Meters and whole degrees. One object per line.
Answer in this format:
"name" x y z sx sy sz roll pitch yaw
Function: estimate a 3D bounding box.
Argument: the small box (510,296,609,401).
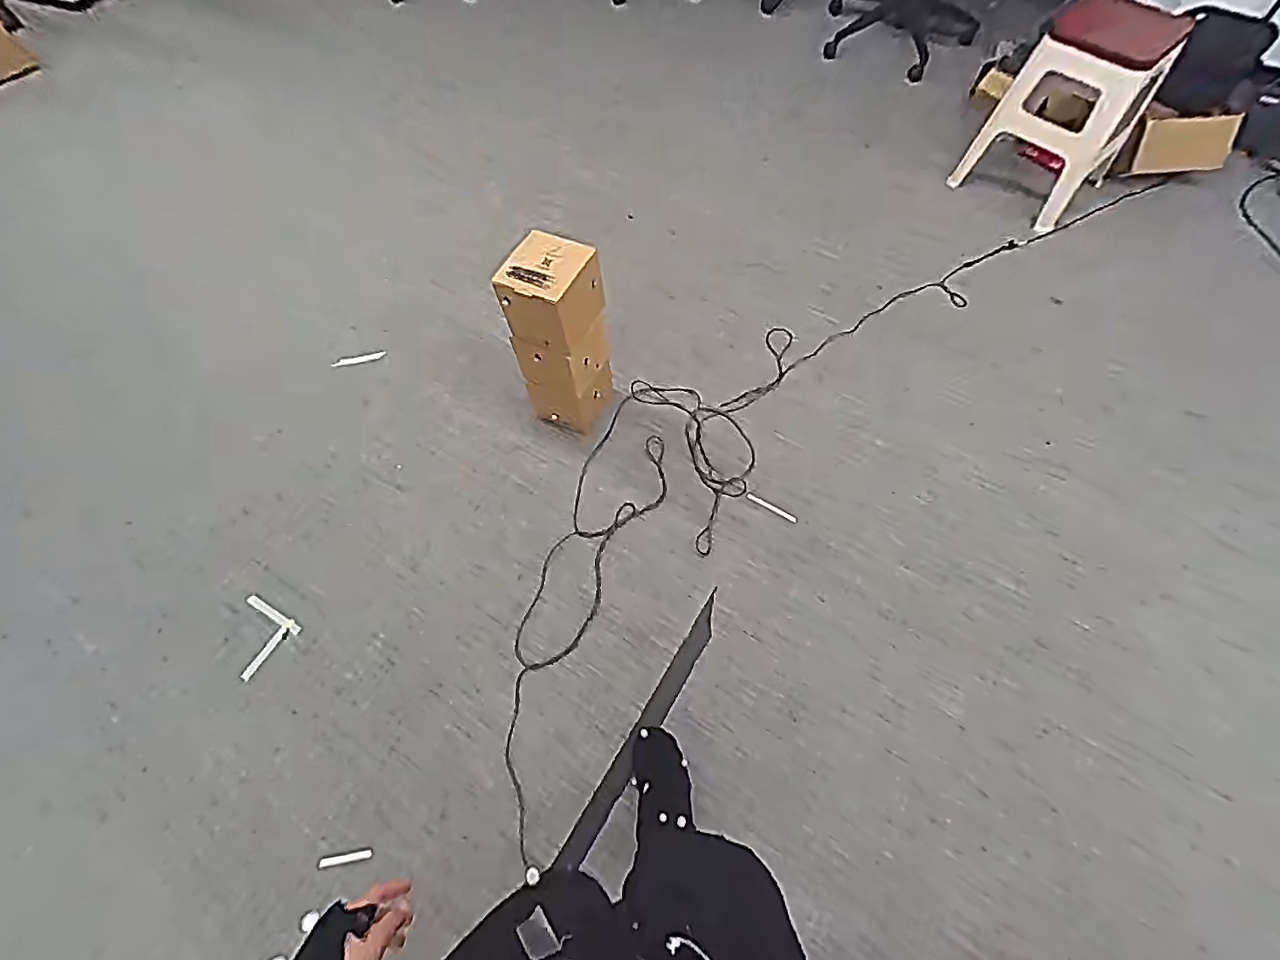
"small box" -0.193 -0.325 1.366 0.179 0.176 0.168 23 67 15

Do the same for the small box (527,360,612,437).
"small box" -0.188 -0.253 1.511 0.168 0.176 0.179 21 67 14
